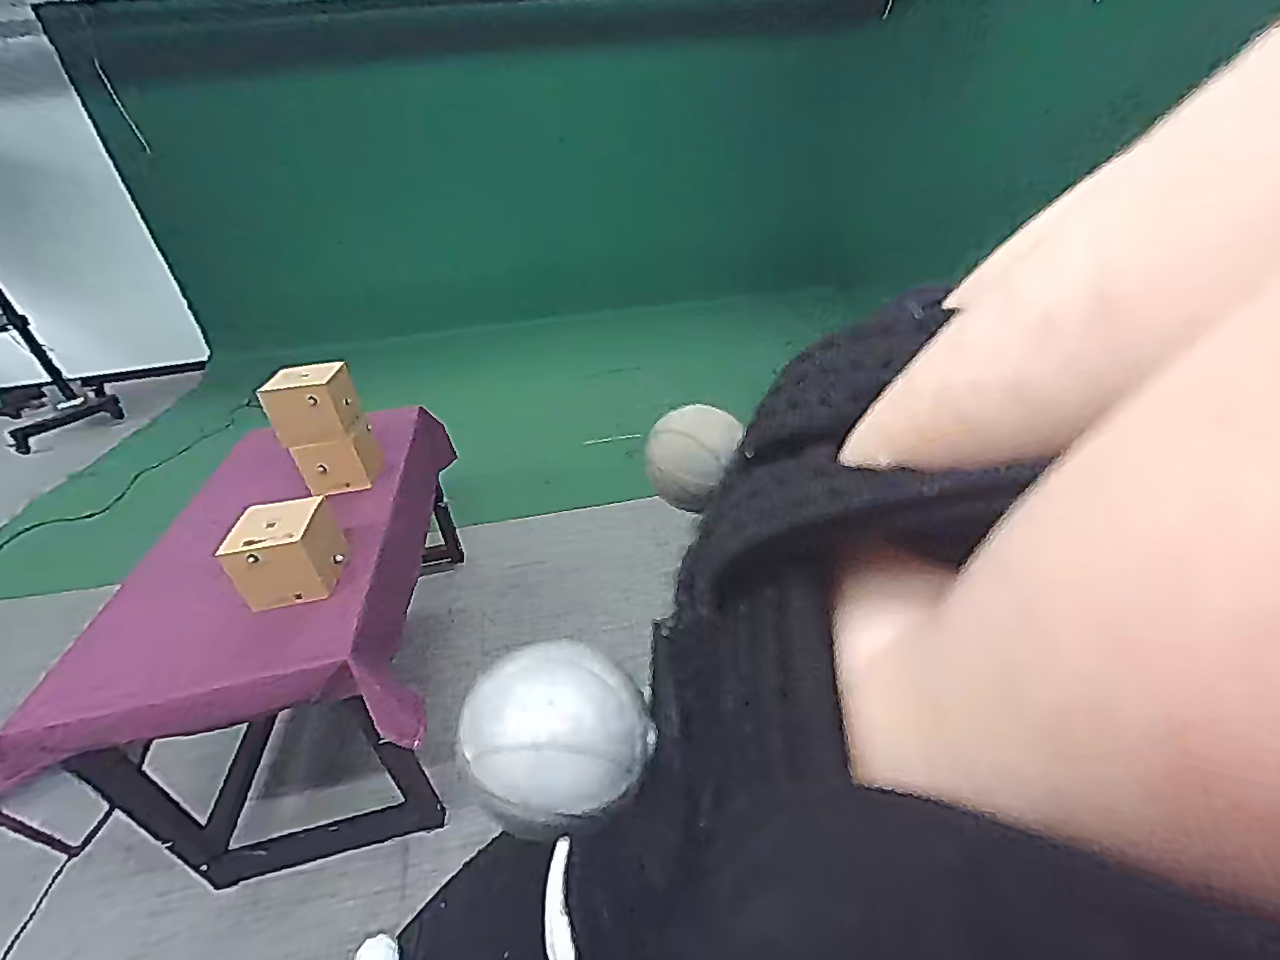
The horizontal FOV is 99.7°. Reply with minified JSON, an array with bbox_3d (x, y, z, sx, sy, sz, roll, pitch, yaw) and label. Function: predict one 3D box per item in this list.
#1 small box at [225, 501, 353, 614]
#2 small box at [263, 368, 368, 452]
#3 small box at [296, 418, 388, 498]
[{"bbox_3d":[-0.779,0.173,1.225,0.168,0.176,0.179,-11,32,-6],"label":"small box"},{"bbox_3d":[-0.893,-0.196,1.512,0.179,0.176,0.168,-9,32,-3],"label":"small box"},{"bbox_3d":[-0.871,-0.060,1.601,0.168,0.176,0.179,-10,33,-5],"label":"small box"}]
